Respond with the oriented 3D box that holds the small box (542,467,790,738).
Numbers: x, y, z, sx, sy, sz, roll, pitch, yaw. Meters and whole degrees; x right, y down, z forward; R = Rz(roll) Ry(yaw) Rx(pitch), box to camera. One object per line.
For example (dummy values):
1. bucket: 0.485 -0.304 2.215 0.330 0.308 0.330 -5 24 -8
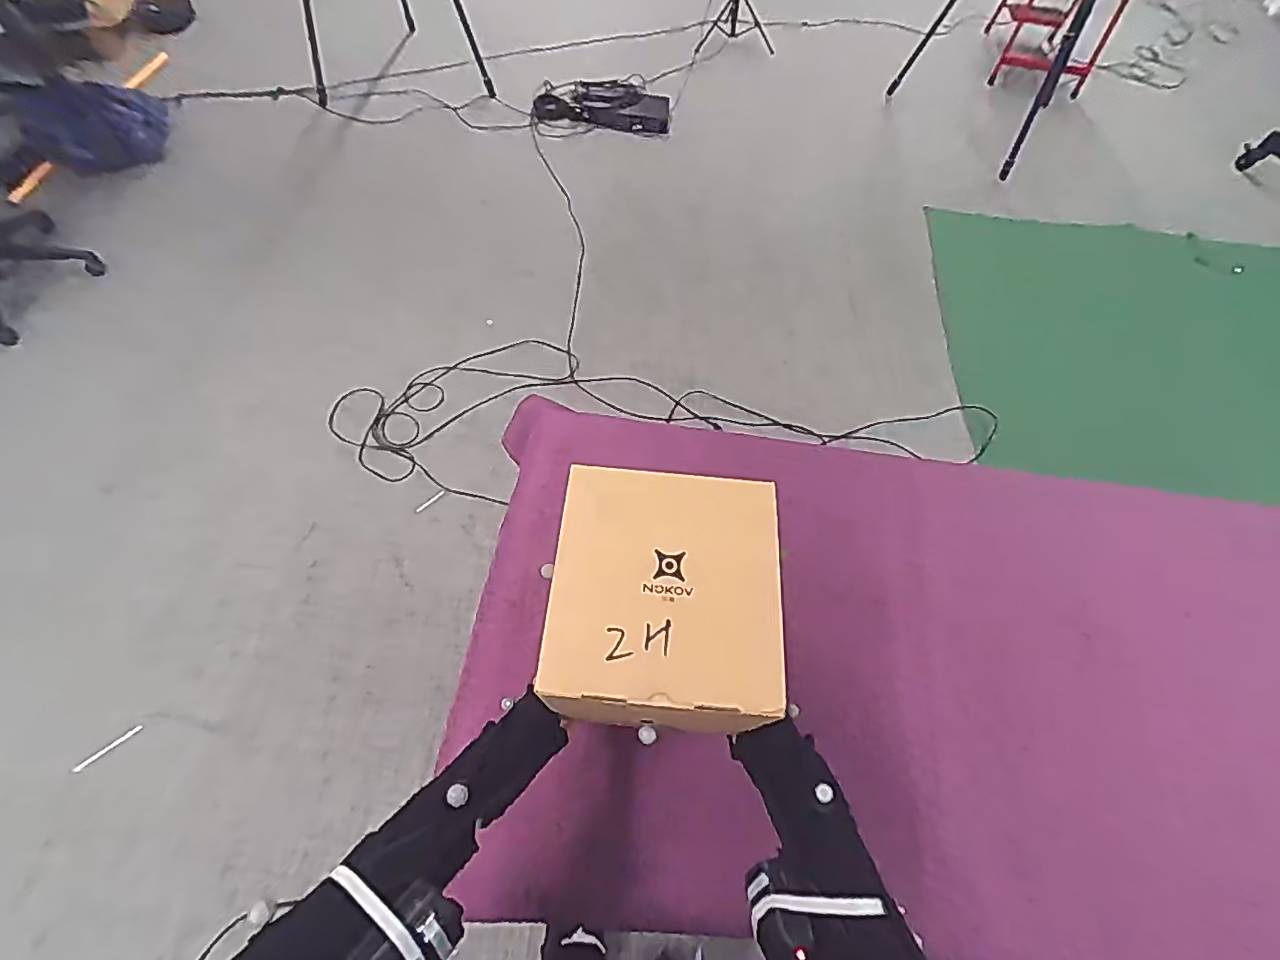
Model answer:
1. small box: 0.020 0.111 0.460 0.168 0.176 0.179 5 61 0
